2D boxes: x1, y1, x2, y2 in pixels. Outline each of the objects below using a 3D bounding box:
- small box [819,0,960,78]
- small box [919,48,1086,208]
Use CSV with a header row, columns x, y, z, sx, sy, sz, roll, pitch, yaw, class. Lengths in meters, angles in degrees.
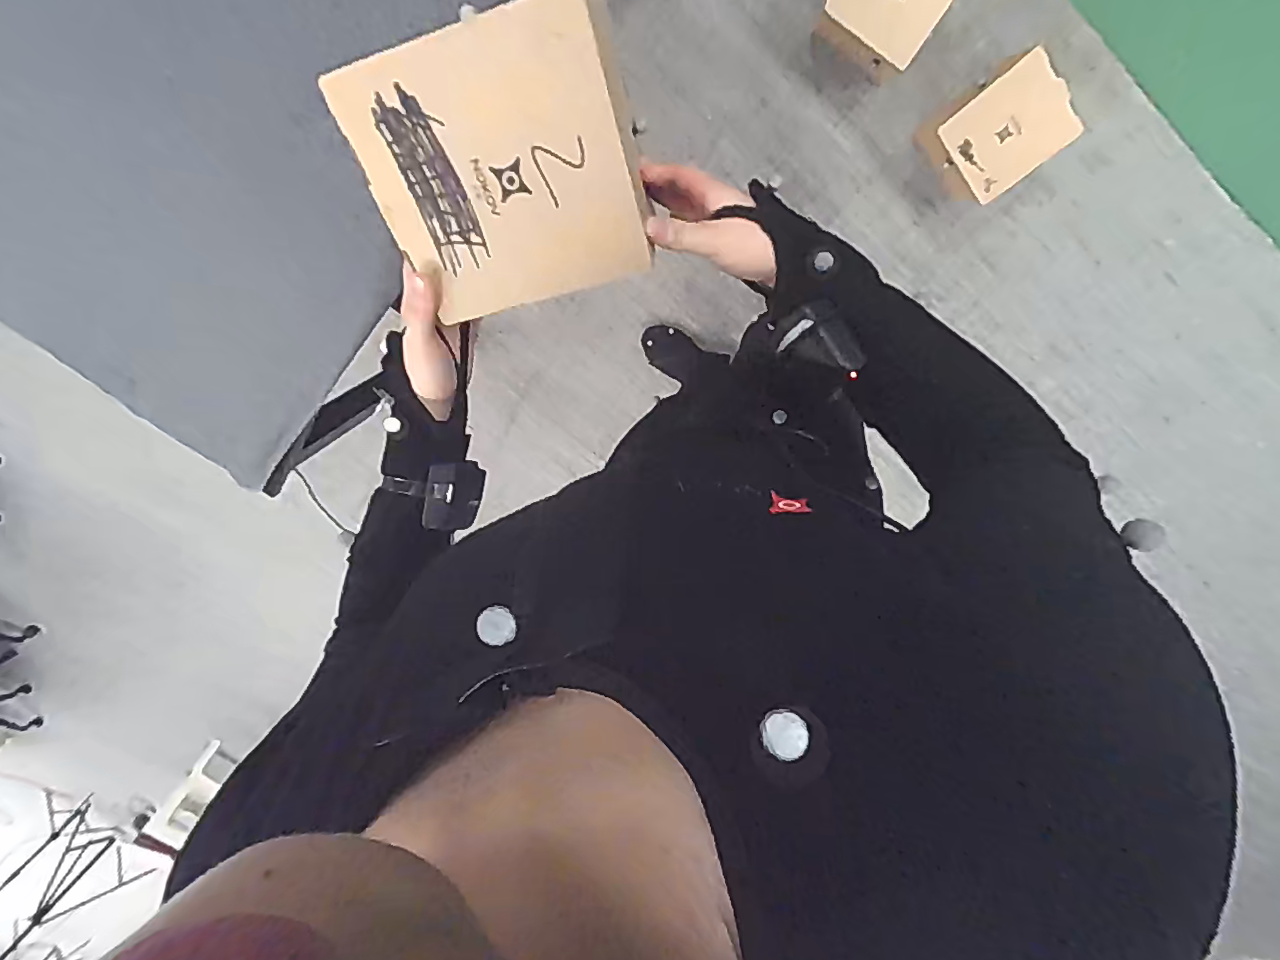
x,y,z,sx,sy,sz,roll,pitch,yaw,class
0.432,-0.825,0.924,0.179,0.176,0.168,32,121,-8,small box
0.650,-0.636,0.990,0.179,0.176,0.168,-34,109,27,small box
